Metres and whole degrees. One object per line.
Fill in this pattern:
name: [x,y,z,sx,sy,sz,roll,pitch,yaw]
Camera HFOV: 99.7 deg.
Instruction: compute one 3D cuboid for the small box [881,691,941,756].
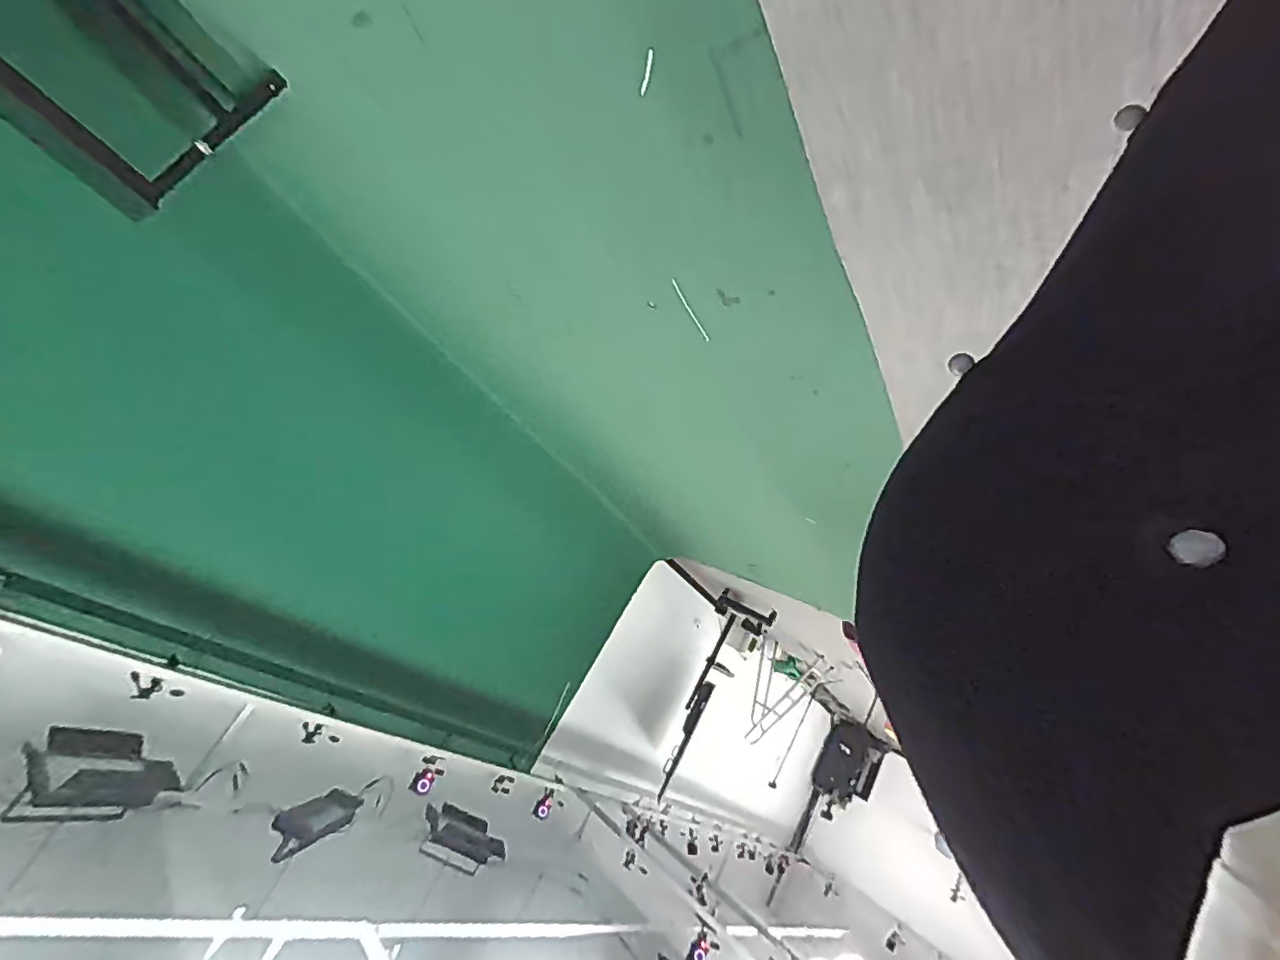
small box: [1.122,1.000,2.229,0.168,0.176,0.179,11,153,43]
